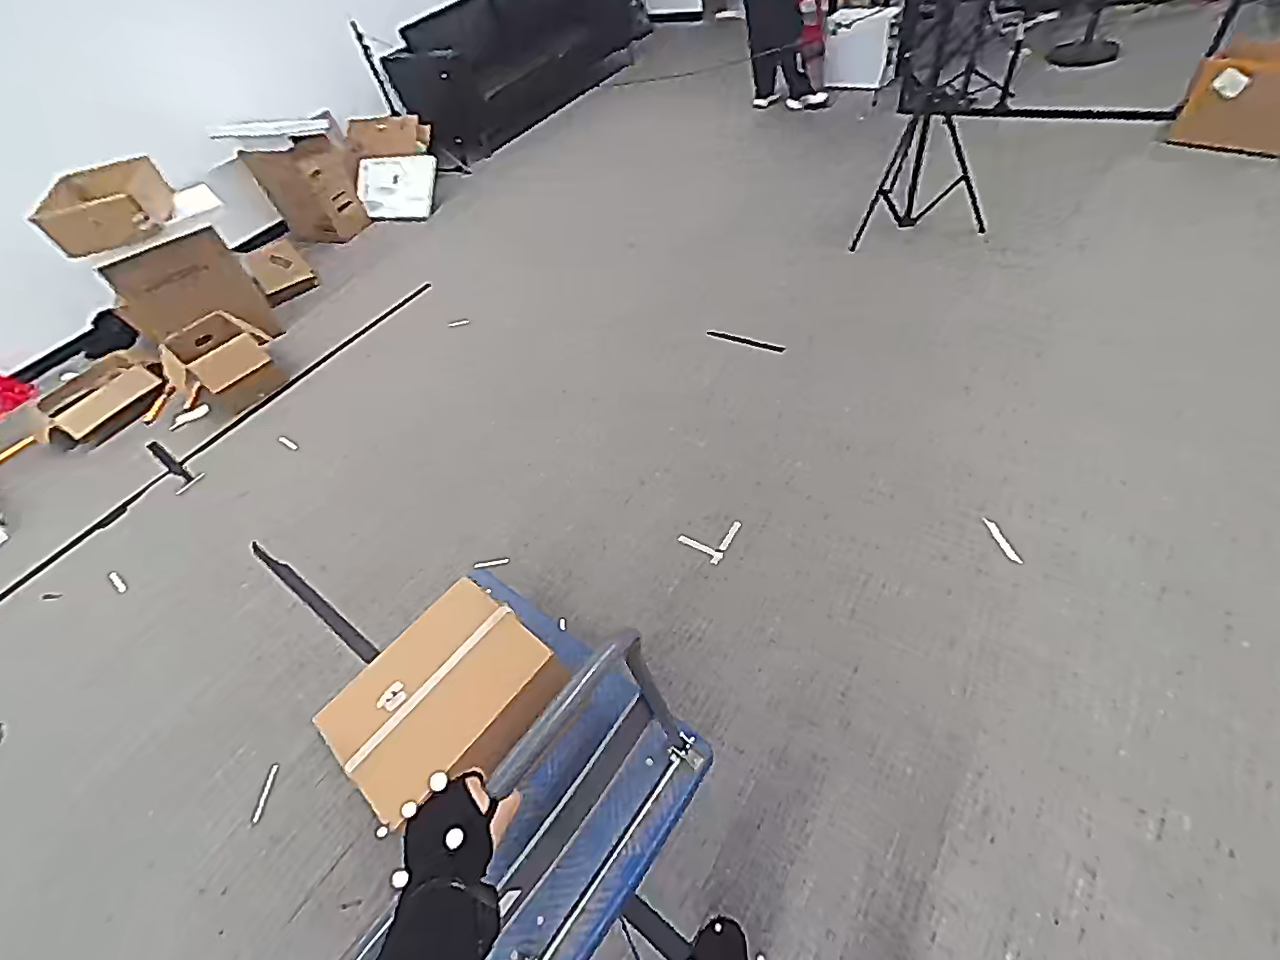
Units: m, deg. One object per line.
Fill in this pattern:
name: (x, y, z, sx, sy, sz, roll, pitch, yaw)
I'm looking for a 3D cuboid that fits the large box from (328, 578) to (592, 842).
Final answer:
large box: (-0.374, 0.509, 1.217, 0.320, 0.320, 0.408, 29, 63, 32)
